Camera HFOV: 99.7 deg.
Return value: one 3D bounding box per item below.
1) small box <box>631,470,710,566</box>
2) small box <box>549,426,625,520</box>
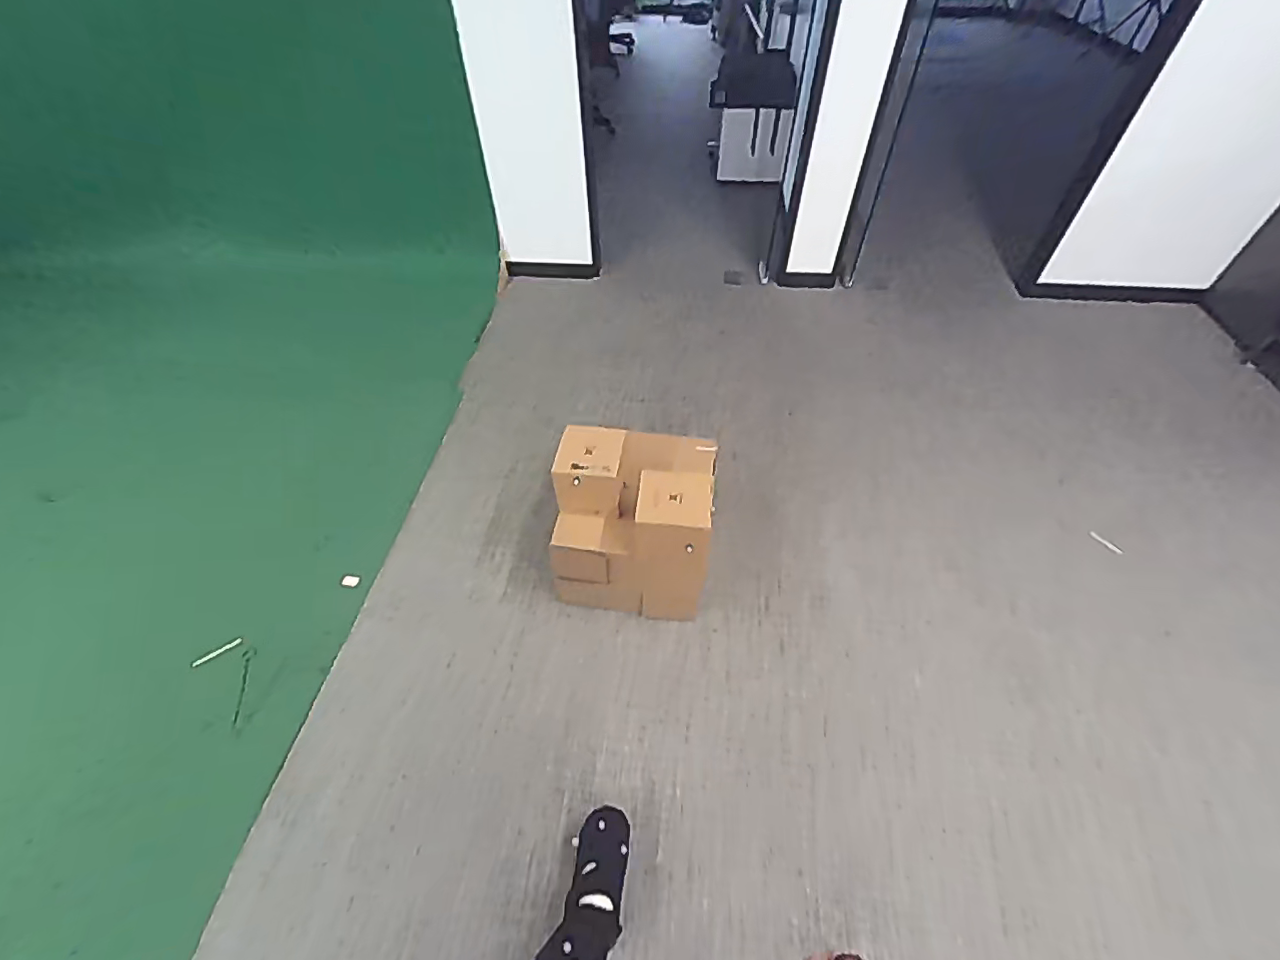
[{"bbox_3d":[0.075,0.097,1.330,0.179,0.176,0.168,4,48,4],"label":"small box"},{"bbox_3d":[-0.134,-0.018,1.434,0.168,0.176,0.179,5,48,6],"label":"small box"}]
